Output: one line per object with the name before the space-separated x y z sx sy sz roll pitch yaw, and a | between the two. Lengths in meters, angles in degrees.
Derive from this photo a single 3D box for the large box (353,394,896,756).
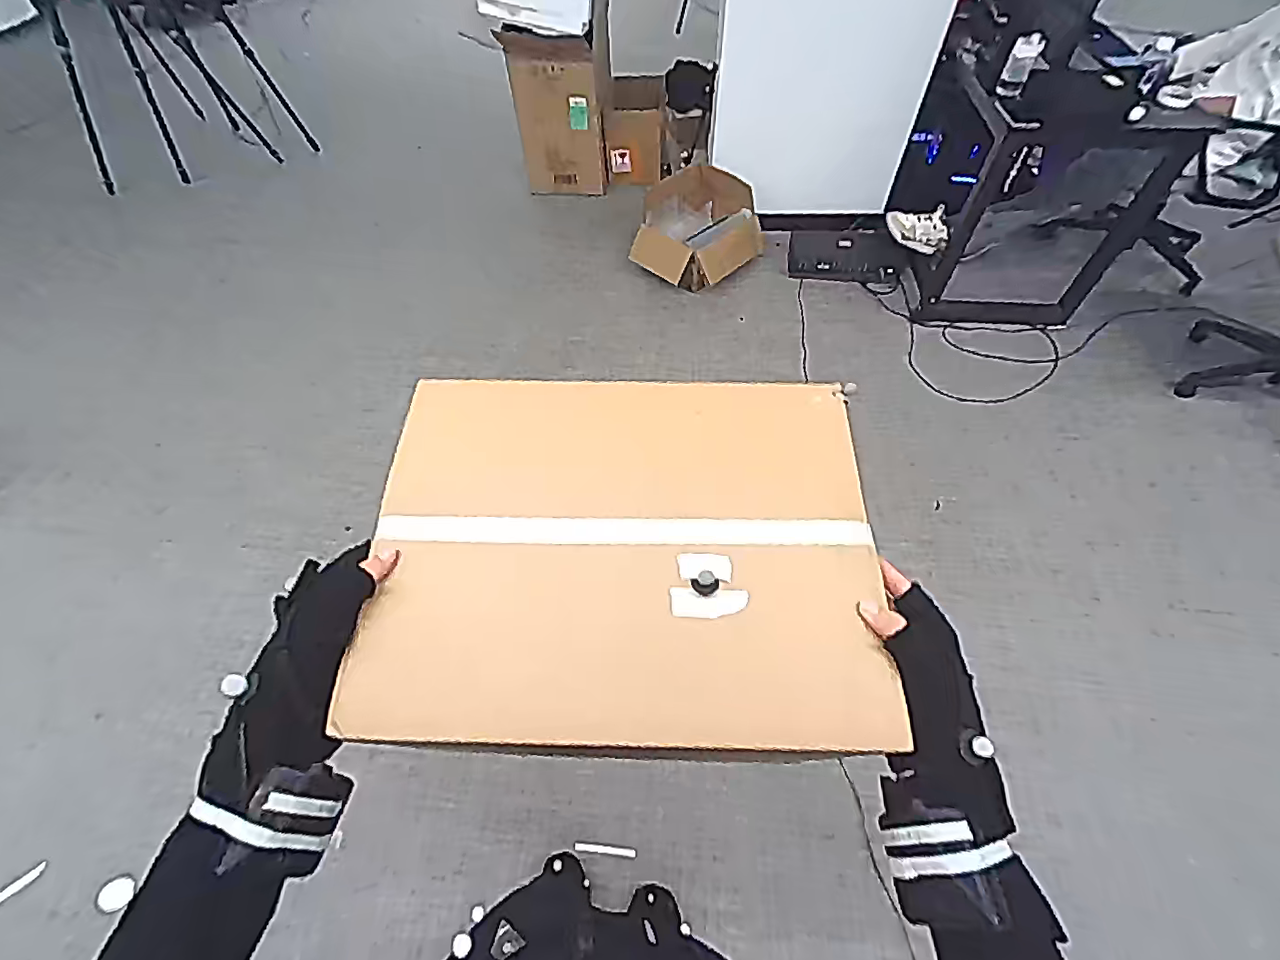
large box | -0.011 0.121 0.591 0.408 0.320 0.320 1 61 1
